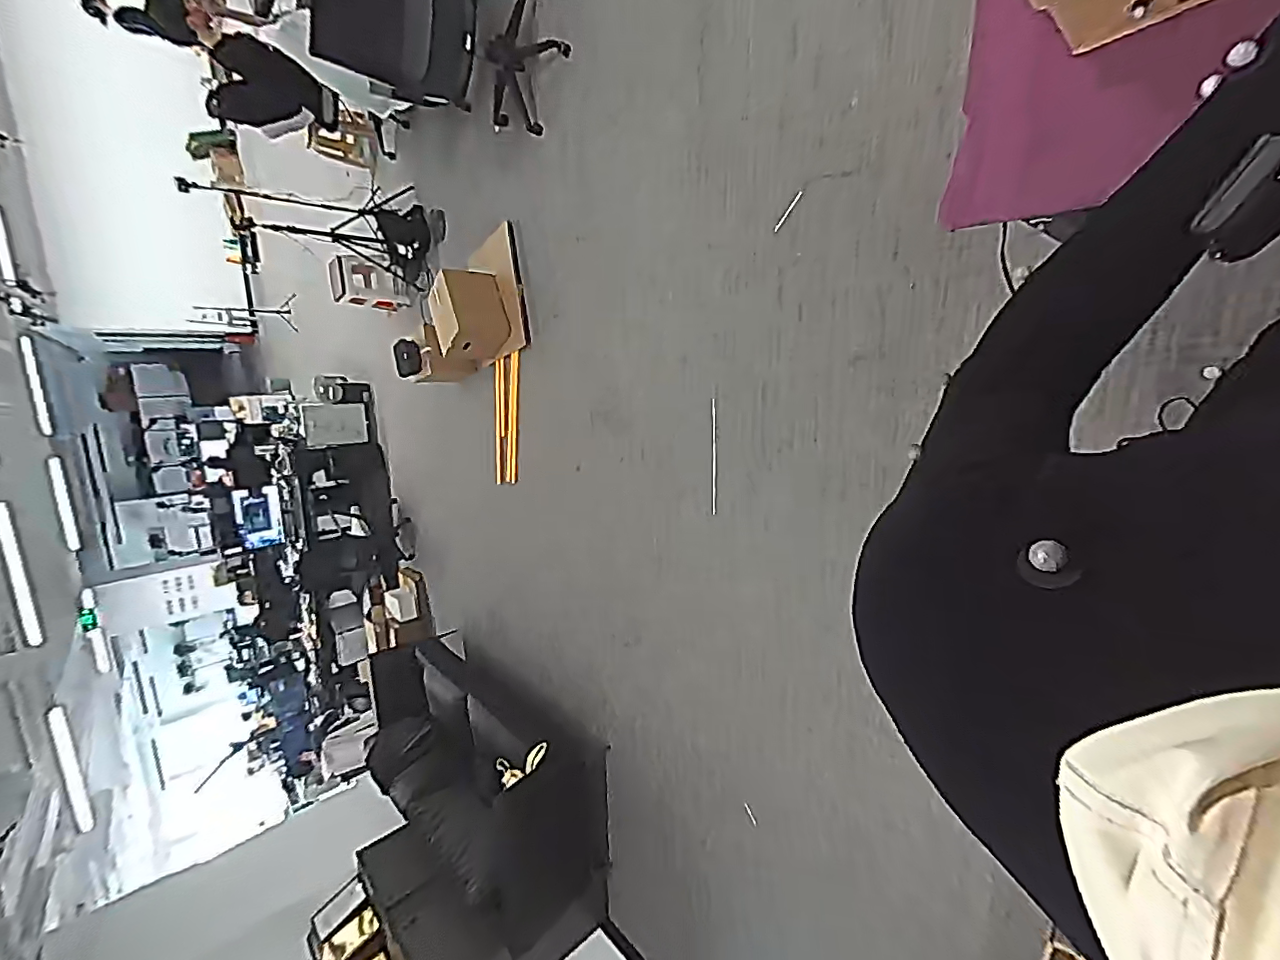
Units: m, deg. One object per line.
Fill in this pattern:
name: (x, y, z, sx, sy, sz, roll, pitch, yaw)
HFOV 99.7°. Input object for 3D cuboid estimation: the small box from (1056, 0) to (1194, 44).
small box: (0.540, -0.616, 0.563, 0.168, 0.176, 0.179, 4, 102, 48)
